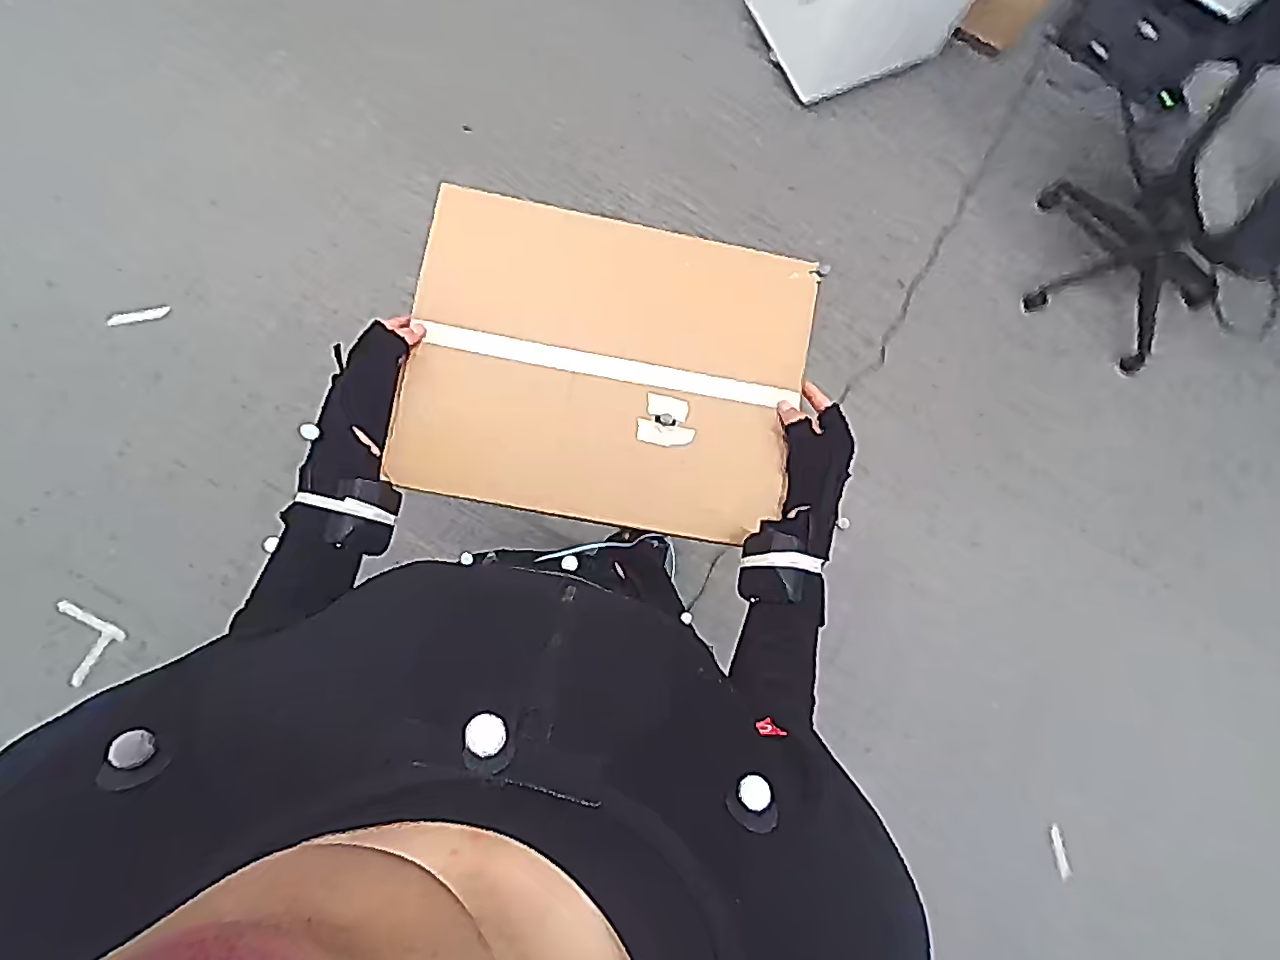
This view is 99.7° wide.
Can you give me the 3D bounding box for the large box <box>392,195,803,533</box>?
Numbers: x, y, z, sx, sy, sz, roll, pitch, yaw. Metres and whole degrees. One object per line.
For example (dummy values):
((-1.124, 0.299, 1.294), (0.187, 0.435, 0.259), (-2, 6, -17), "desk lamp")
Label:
((-0.051, -0.110, 0.716), (0.408, 0.320, 0.320), (9, 86, -5), "large box")
